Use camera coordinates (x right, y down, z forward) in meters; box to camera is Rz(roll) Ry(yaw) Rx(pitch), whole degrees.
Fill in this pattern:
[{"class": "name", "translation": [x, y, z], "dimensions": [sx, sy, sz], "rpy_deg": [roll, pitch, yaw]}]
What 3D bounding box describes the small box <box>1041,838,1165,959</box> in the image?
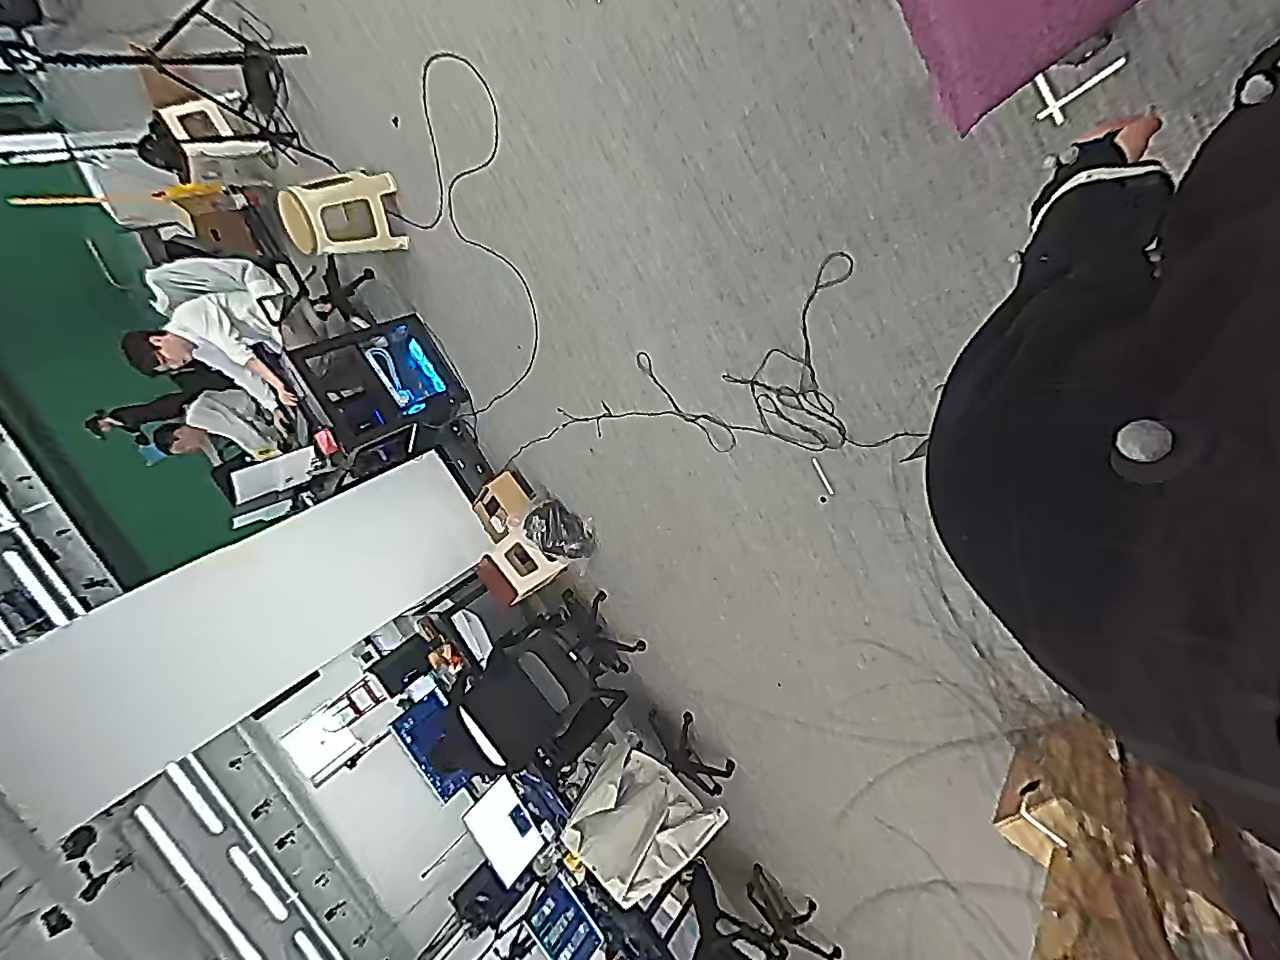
[{"class": "small box", "translation": [1.175, 1.063, 1.371], "dimensions": [0.179, 0.176, 0.168], "rpy_deg": [35, 138, 27]}]
